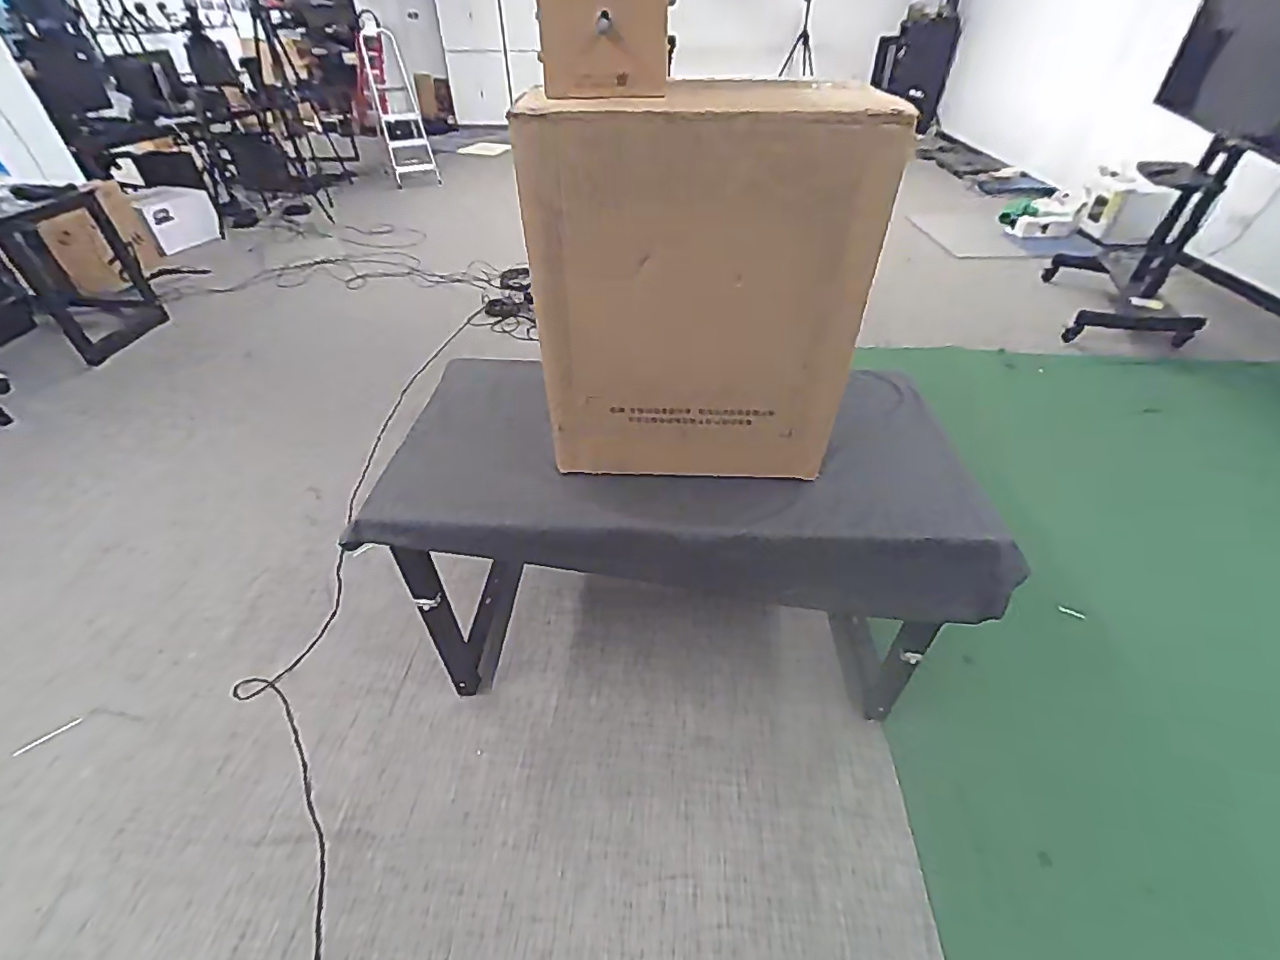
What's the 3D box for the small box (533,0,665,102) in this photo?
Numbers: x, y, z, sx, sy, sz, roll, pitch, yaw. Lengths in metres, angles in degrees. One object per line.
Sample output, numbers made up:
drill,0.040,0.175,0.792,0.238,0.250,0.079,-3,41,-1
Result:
small box,-0.051,-0.632,0.741,0.168,0.176,0.179,-1,45,0
